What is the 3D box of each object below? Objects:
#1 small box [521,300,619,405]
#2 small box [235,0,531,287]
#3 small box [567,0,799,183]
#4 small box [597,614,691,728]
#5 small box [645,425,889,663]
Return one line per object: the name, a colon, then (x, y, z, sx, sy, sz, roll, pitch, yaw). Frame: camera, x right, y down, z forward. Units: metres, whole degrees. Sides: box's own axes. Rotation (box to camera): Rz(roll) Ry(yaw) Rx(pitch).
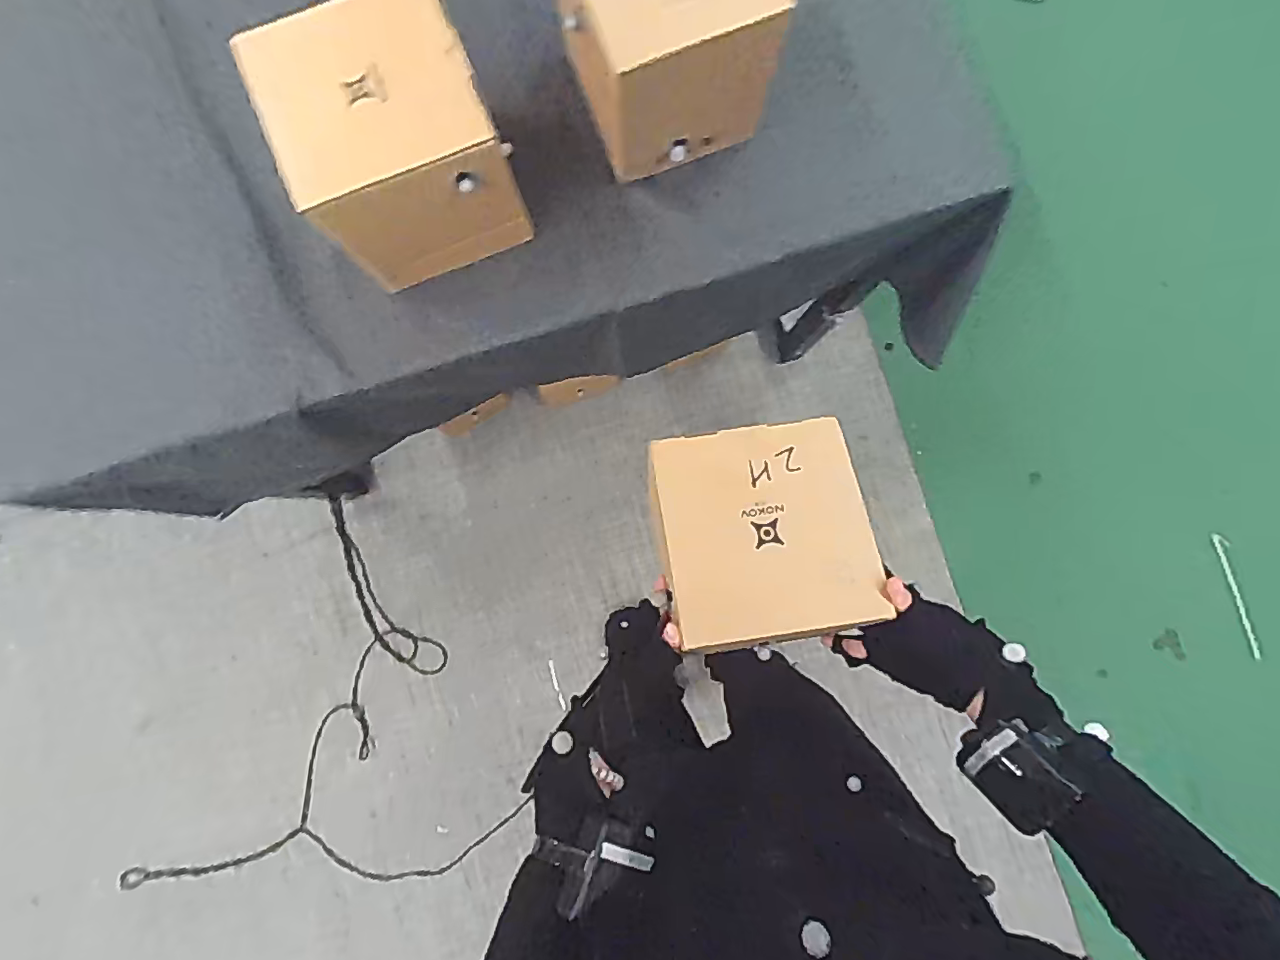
small box: (-0.153, -0.286, 1.247, 0.179, 0.176, 0.168, -19, 87, -1)
small box: (-0.226, -0.316, 0.523, 0.179, 0.176, 0.168, -22, 87, -2)
small box: (0.028, -0.439, 0.531, 0.168, 0.176, 0.179, -20, 87, -1)
small box: (0.014, 0.426, 1.231, 0.179, 0.176, 0.168, 16, 97, 18)
small box: (0.099, 0.071, 0.506, 0.168, 0.176, 0.179, -8, 70, -2)
